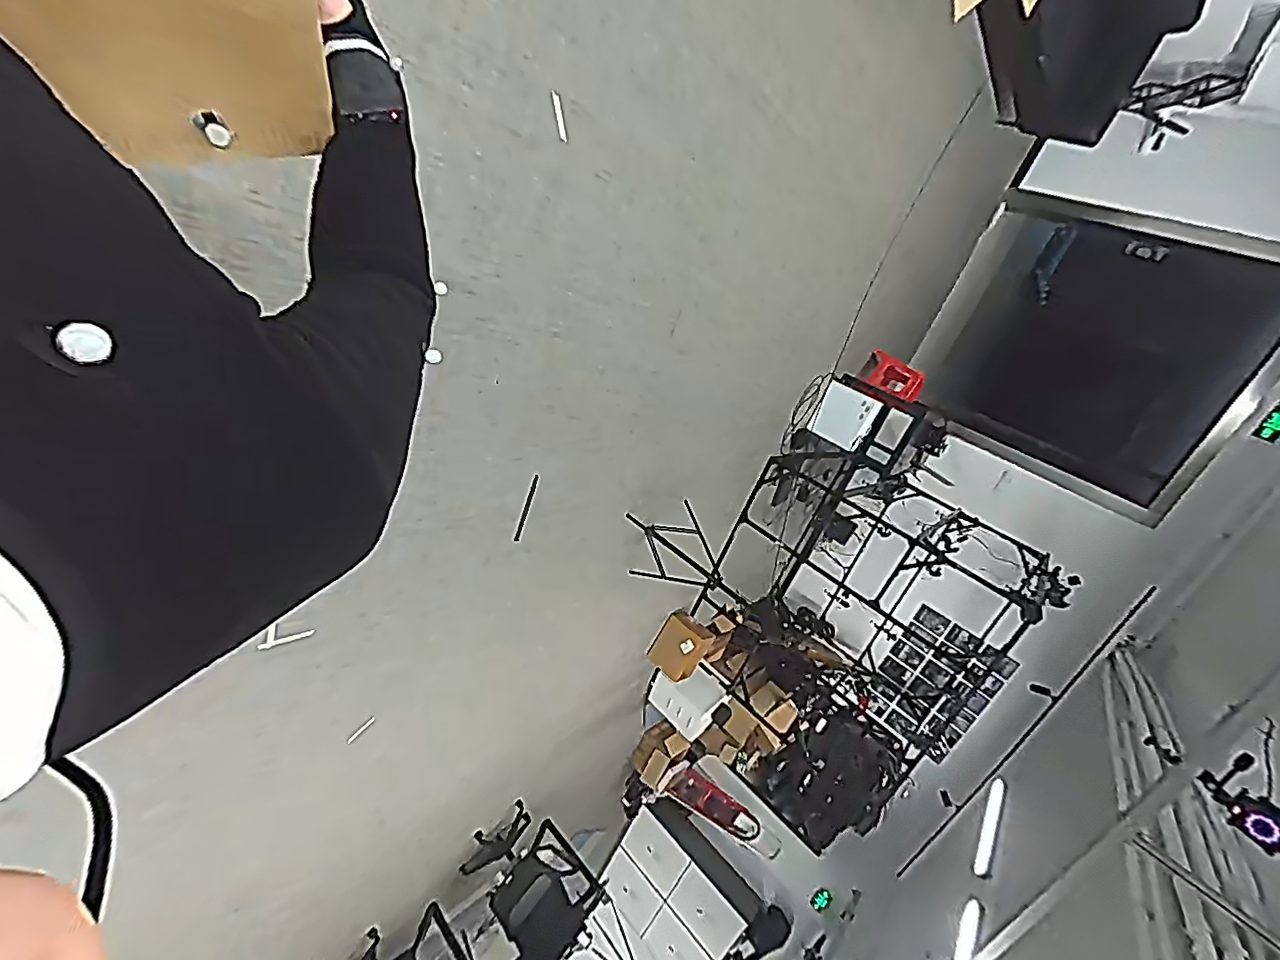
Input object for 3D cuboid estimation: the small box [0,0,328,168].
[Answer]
[{"bbox_3d":[-0.346,-0.358,0.388,0.179,0.168,0.176,-22,179,-26],"label":"small box"}]
